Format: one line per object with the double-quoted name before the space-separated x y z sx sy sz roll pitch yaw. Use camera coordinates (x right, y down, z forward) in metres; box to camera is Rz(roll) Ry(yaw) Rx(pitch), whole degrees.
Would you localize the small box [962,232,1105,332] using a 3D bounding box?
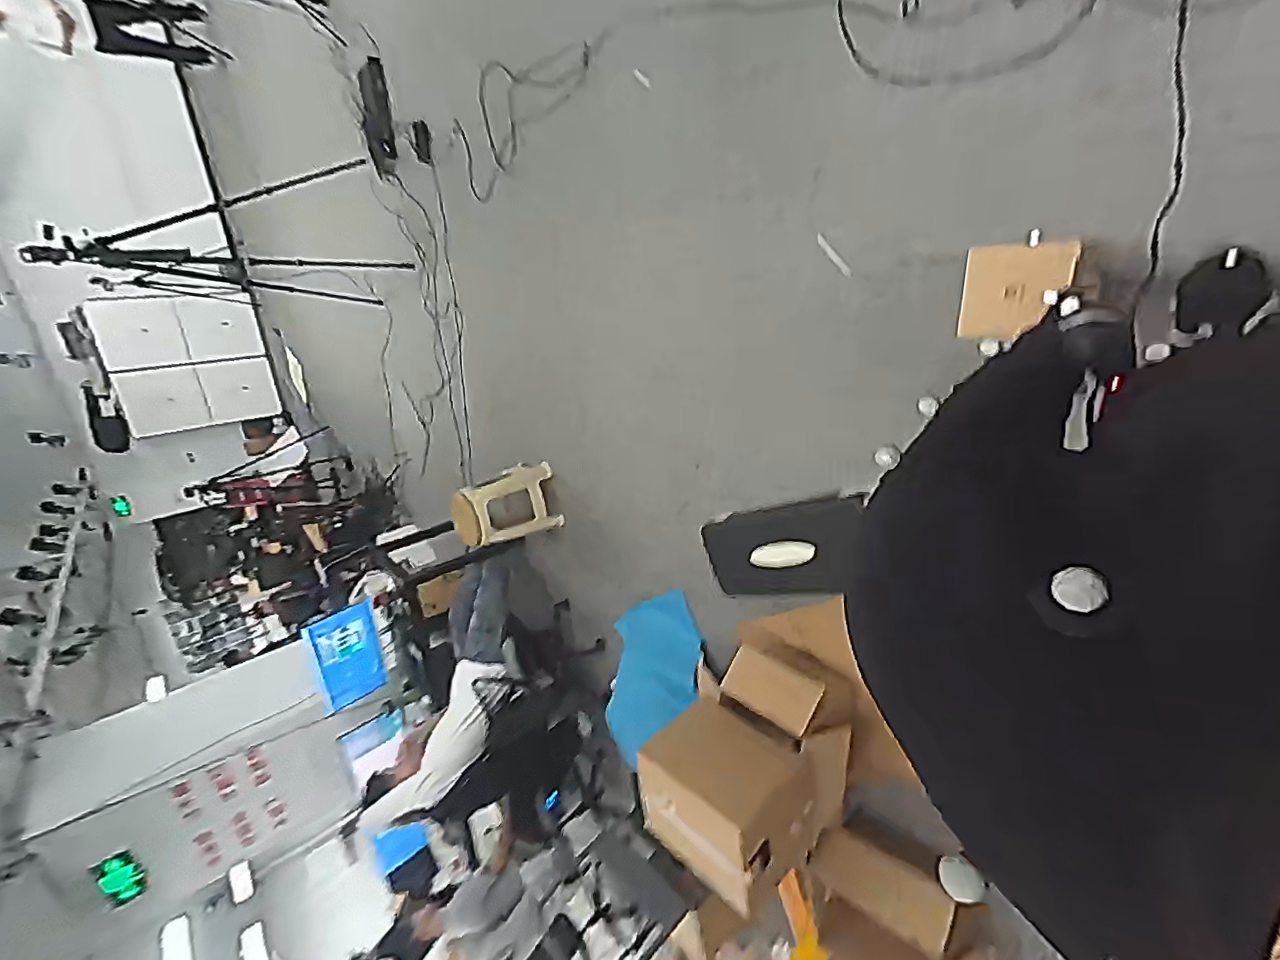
"small box" 0.758 -0.381 1.047 0.179 0.176 0.168 17 119 45
